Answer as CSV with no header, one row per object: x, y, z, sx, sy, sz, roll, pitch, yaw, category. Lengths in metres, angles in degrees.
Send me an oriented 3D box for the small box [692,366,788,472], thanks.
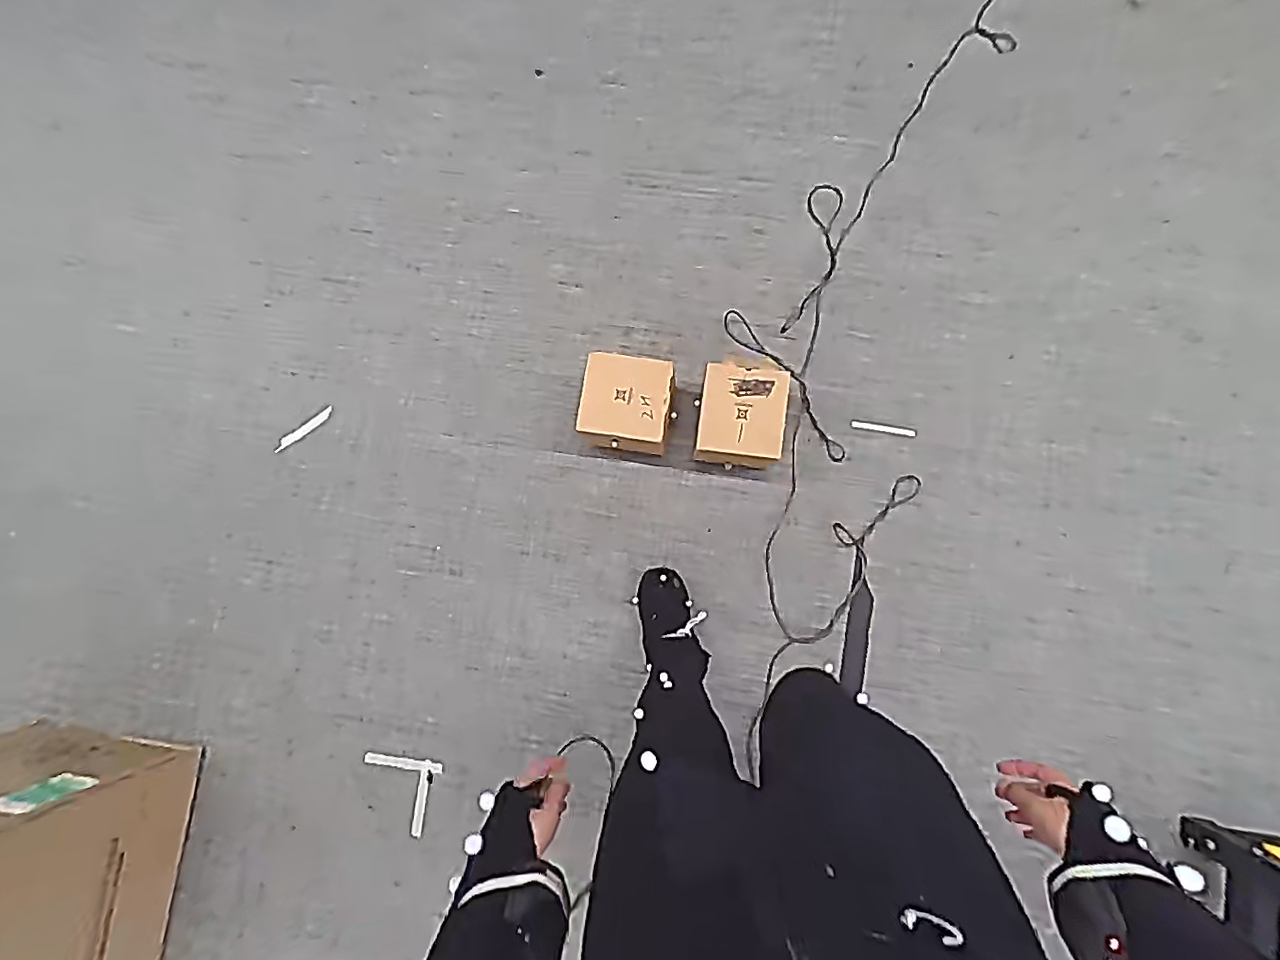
0.200,-0.121,1.130,0.168,0.176,0.179,8,85,4,small box

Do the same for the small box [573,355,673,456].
-0.029,-0.150,1.145,0.179,0.176,0.168,9,85,5,small box
